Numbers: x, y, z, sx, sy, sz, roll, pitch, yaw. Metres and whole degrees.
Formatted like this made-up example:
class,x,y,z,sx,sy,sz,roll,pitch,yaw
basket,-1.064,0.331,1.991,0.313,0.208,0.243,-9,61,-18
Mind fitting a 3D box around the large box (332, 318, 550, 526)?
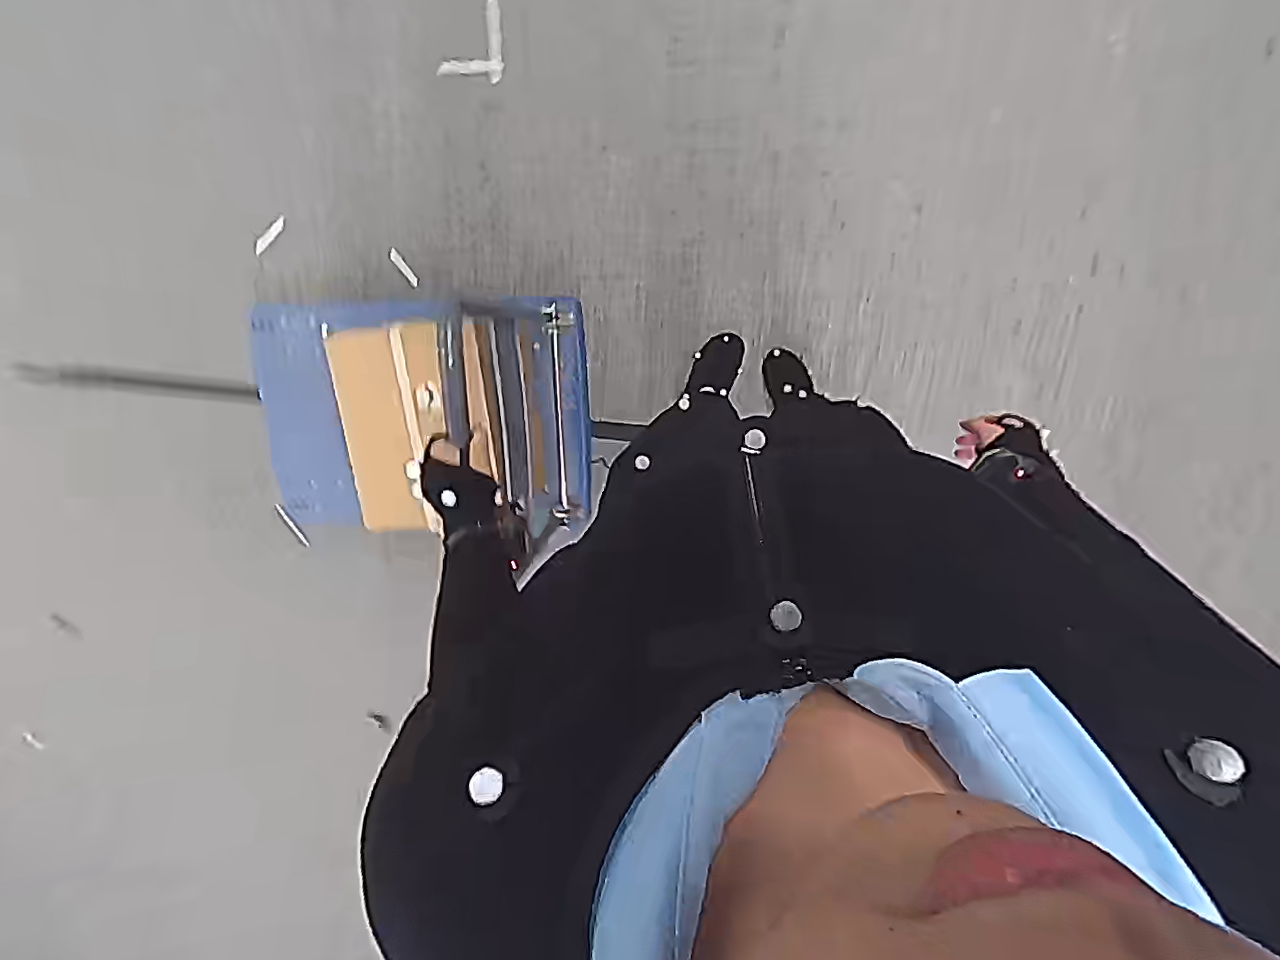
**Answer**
class,x,y,z,sx,sy,sz,roll,pitch,yaw
large box,-0.413,-0.136,1.216,0.320,0.320,0.408,-3,103,8
